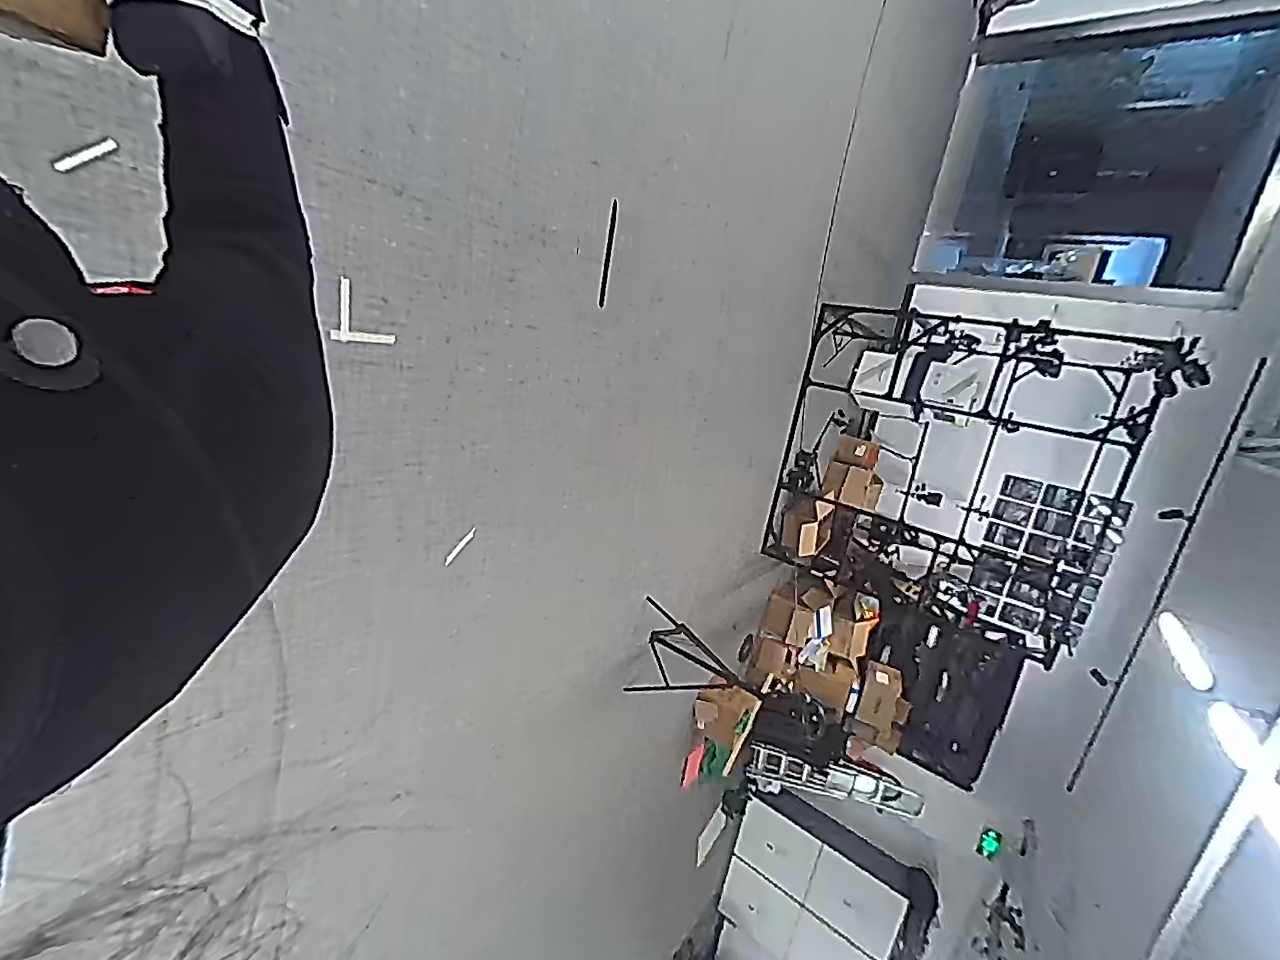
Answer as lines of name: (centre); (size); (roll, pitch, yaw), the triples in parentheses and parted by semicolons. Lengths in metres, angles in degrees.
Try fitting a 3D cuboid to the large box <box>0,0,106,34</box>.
large box: (-0.528, -0.489, 0.224); (0.408, 0.320, 0.320); (-2, 119, -58)
